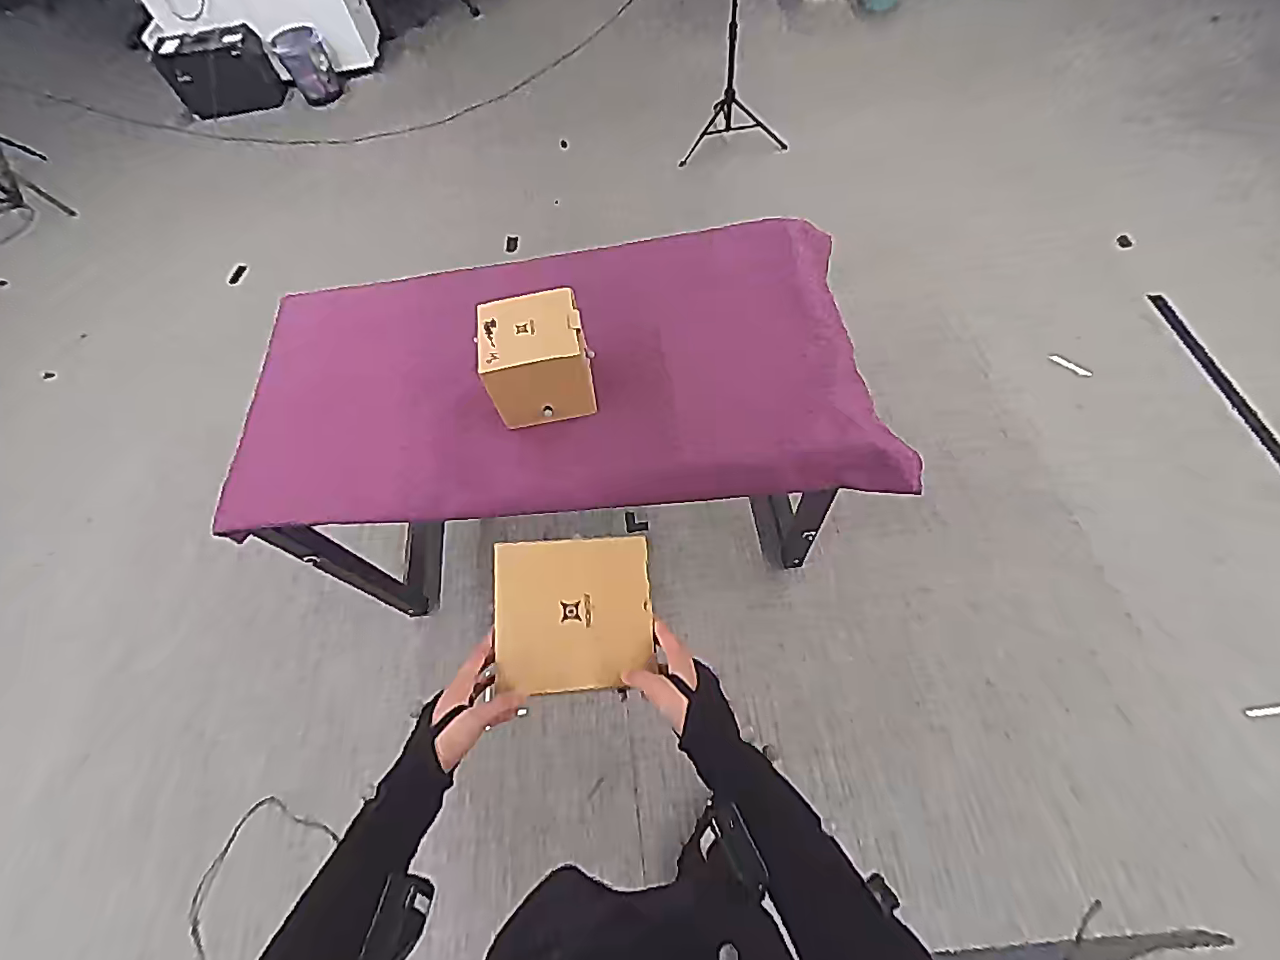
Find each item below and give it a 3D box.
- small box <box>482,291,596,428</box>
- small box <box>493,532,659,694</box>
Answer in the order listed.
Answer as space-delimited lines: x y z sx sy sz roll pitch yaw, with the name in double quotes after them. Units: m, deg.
-0.180 -0.218 1.000 0.179 0.176 0.168 -10 60 0 "small box"
-0.081 0.169 0.667 0.179 0.176 0.168 -2 69 -10 "small box"
